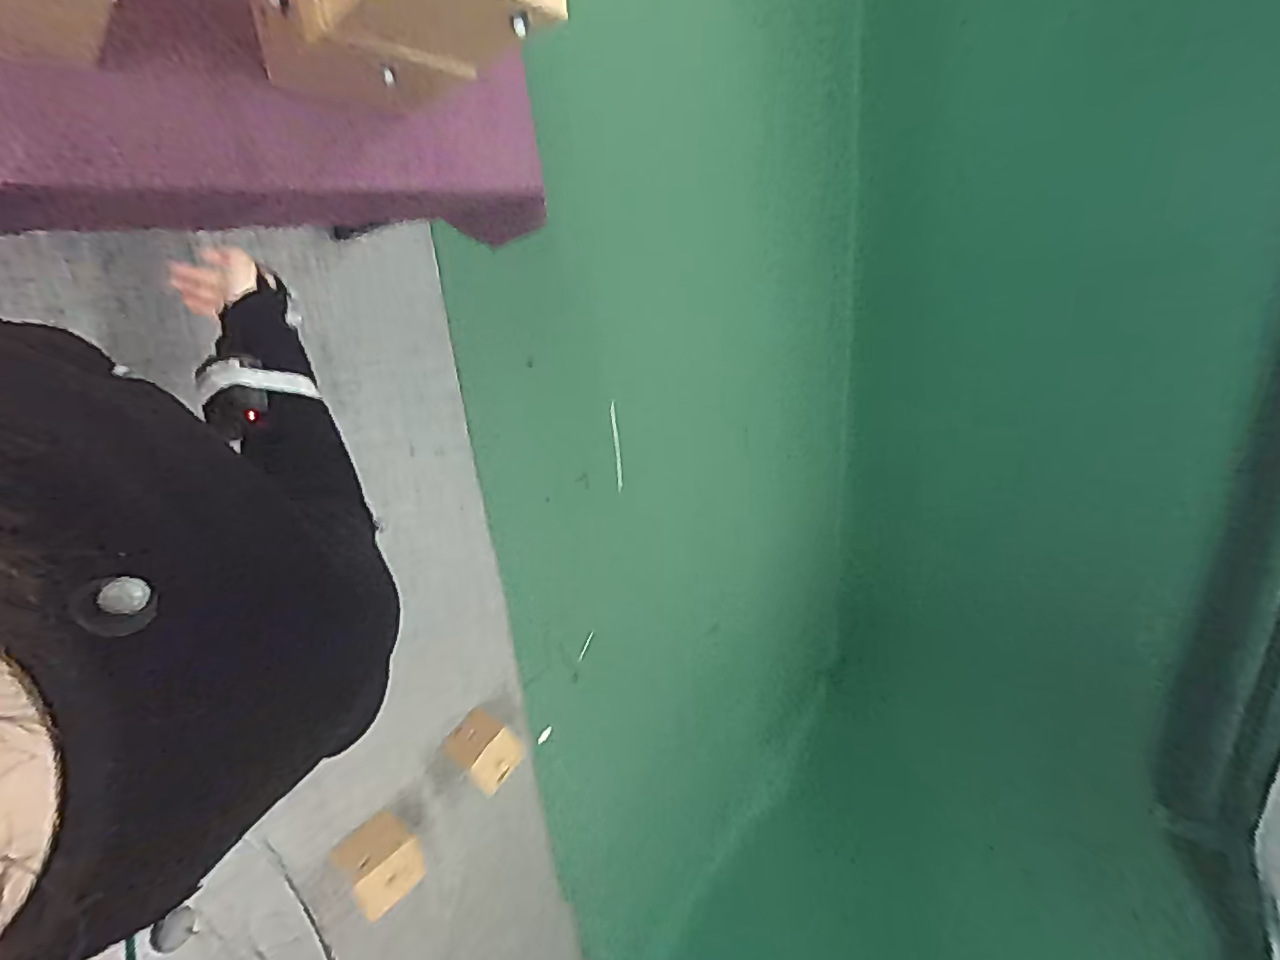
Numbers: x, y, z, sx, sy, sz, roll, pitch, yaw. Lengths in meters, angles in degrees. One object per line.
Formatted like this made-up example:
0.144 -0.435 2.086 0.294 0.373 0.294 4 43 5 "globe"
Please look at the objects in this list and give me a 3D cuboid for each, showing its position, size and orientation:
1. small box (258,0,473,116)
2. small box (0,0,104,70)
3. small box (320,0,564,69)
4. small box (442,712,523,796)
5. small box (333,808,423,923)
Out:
-0.321 -0.545 0.617 0.179 0.176 0.168 -21 114 -46 "small box"
-0.537 -0.428 0.387 0.179 0.176 0.168 -28 119 -43 "small box"
-0.199 -0.526 0.511 0.179 0.176 0.168 -24 117 -45 "small box"
-0.537 0.917 1.834 0.168 0.176 0.179 -44 129 -35 "small box"
-0.777 1.128 1.595 0.179 0.176 0.168 -27 119 -43 "small box"
